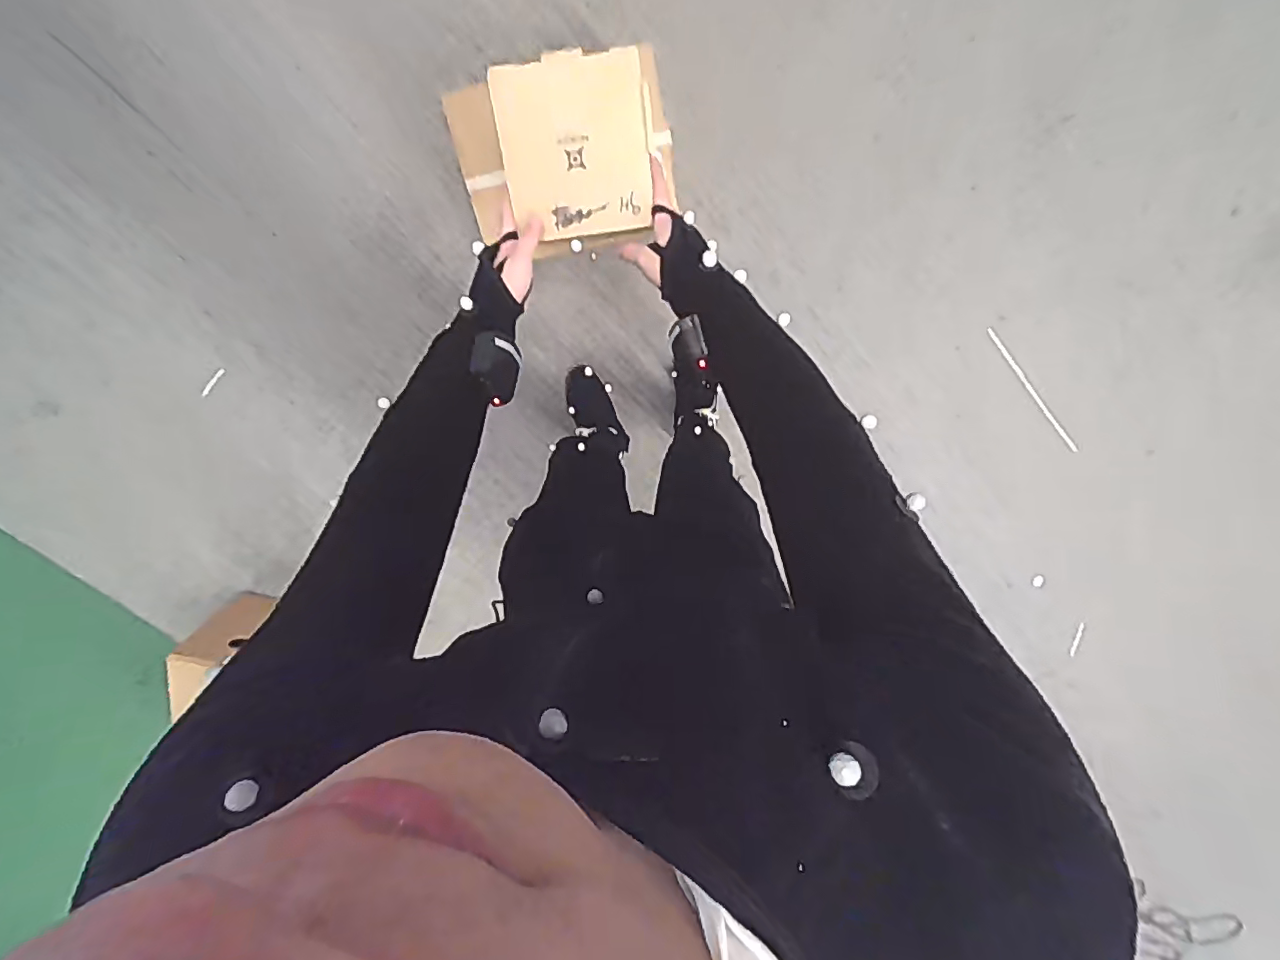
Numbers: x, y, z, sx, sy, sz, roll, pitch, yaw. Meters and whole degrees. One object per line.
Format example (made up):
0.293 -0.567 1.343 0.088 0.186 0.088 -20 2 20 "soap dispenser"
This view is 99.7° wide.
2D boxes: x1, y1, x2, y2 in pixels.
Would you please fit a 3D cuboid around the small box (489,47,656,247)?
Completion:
-0.070 -0.392 0.669 0.168 0.176 0.179 -5 113 4 "small box"

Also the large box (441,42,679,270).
-0.145 -0.665 1.175 0.408 0.320 0.320 -11 111 5 "large box"

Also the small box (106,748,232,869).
-1.131 0.788 1.310 0.168 0.176 0.179 16 111 -6 "small box"
